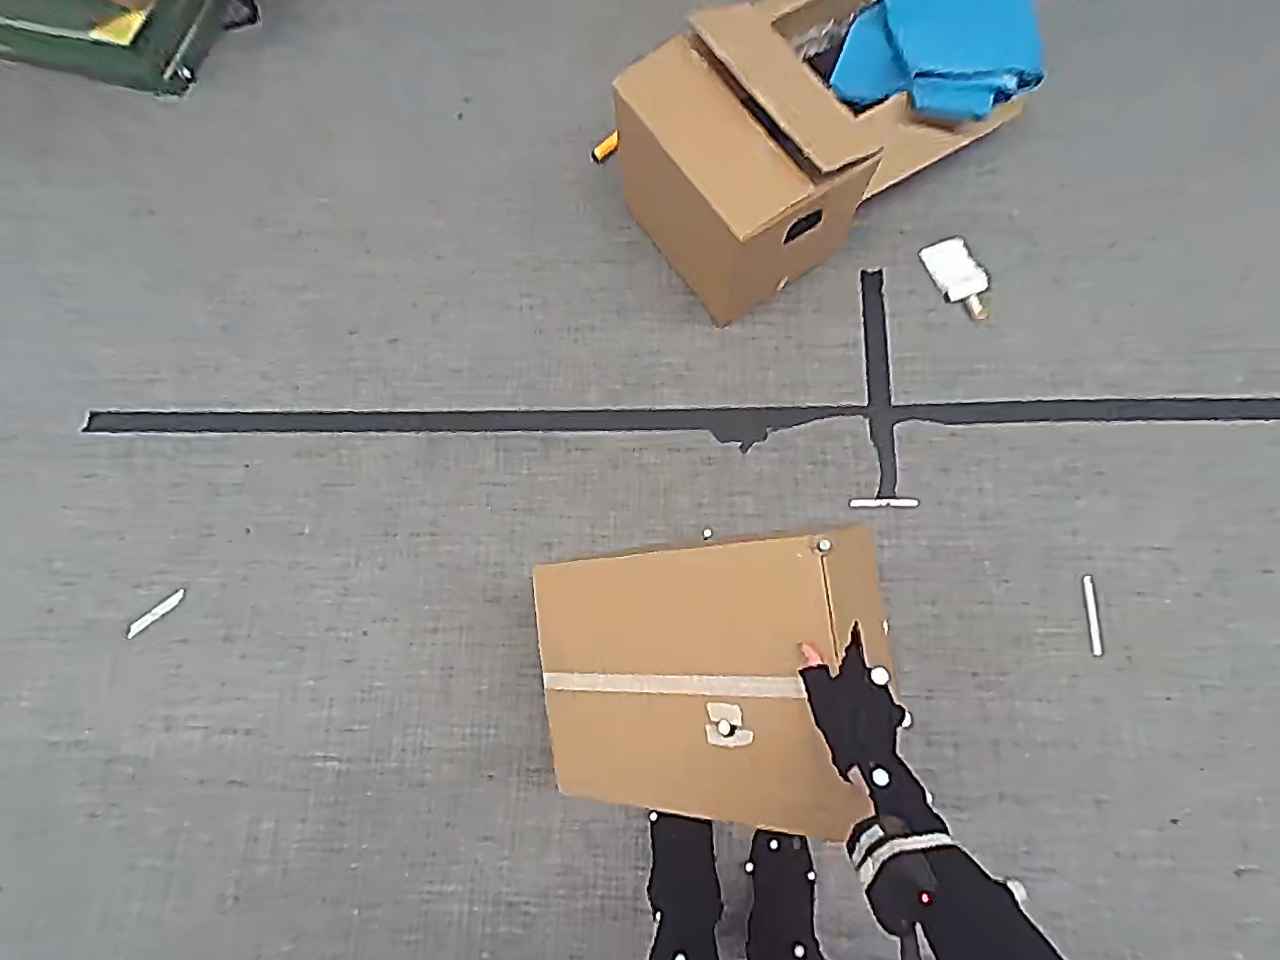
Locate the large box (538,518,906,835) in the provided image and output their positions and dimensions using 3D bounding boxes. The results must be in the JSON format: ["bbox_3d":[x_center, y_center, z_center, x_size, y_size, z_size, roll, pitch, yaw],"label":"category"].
[{"bbox_3d":[0.121,0.236,0.764,0.408,0.320,0.320,-12,84,30],"label":"large box"}]
